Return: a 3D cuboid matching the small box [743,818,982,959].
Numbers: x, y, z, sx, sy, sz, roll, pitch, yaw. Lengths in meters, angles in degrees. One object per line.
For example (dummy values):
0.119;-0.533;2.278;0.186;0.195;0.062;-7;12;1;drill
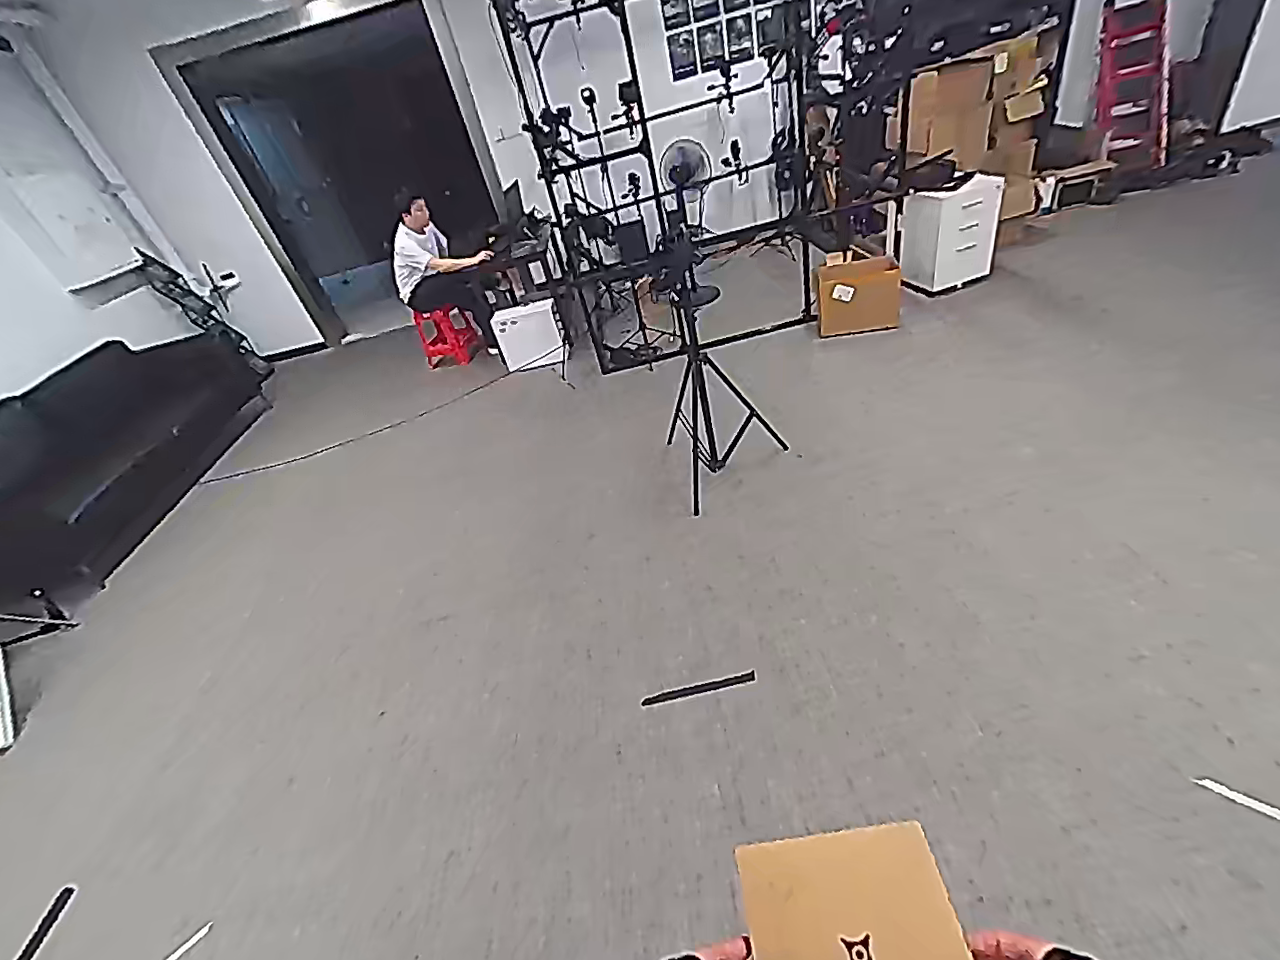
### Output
0.188;0.422;0.469;0.168;0.176;0.179;-11;46;4;small box
